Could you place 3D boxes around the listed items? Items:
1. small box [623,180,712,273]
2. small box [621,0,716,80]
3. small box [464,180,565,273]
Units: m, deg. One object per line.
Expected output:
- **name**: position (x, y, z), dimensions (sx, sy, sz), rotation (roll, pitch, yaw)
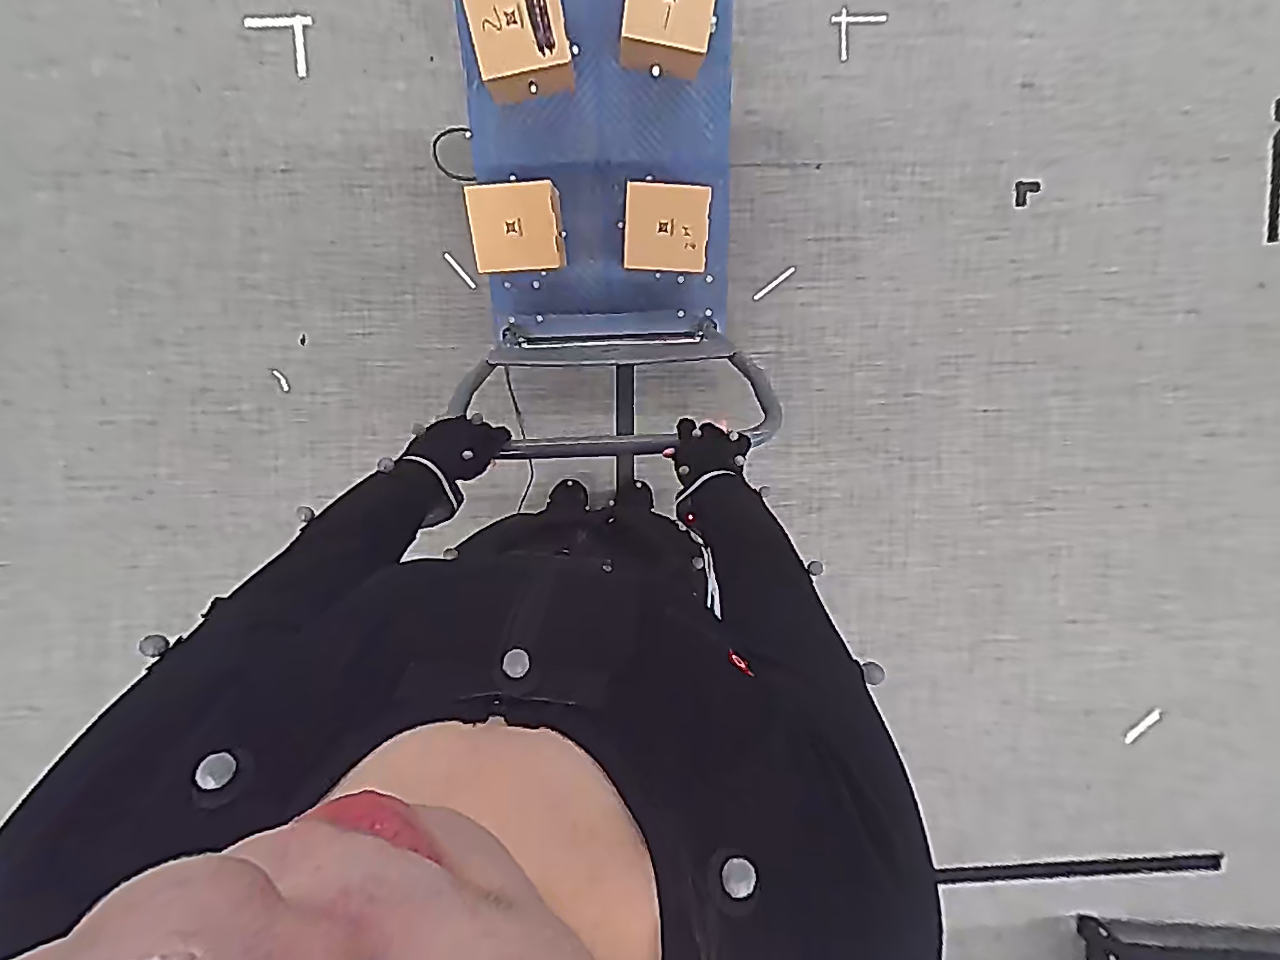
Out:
- **small box**: position (0.053, -0.552, 1.195), dimensions (0.179, 0.176, 0.168), rotation (2, 111, -3)
- **small box**: position (0.056, -0.923, 1.053), dimensions (0.168, 0.176, 0.179), rotation (8, 112, -6)
- **small box**: position (-0.265, -0.547, 1.183), dimensions (0.179, 0.176, 0.168), rotation (-6, 111, -2)
